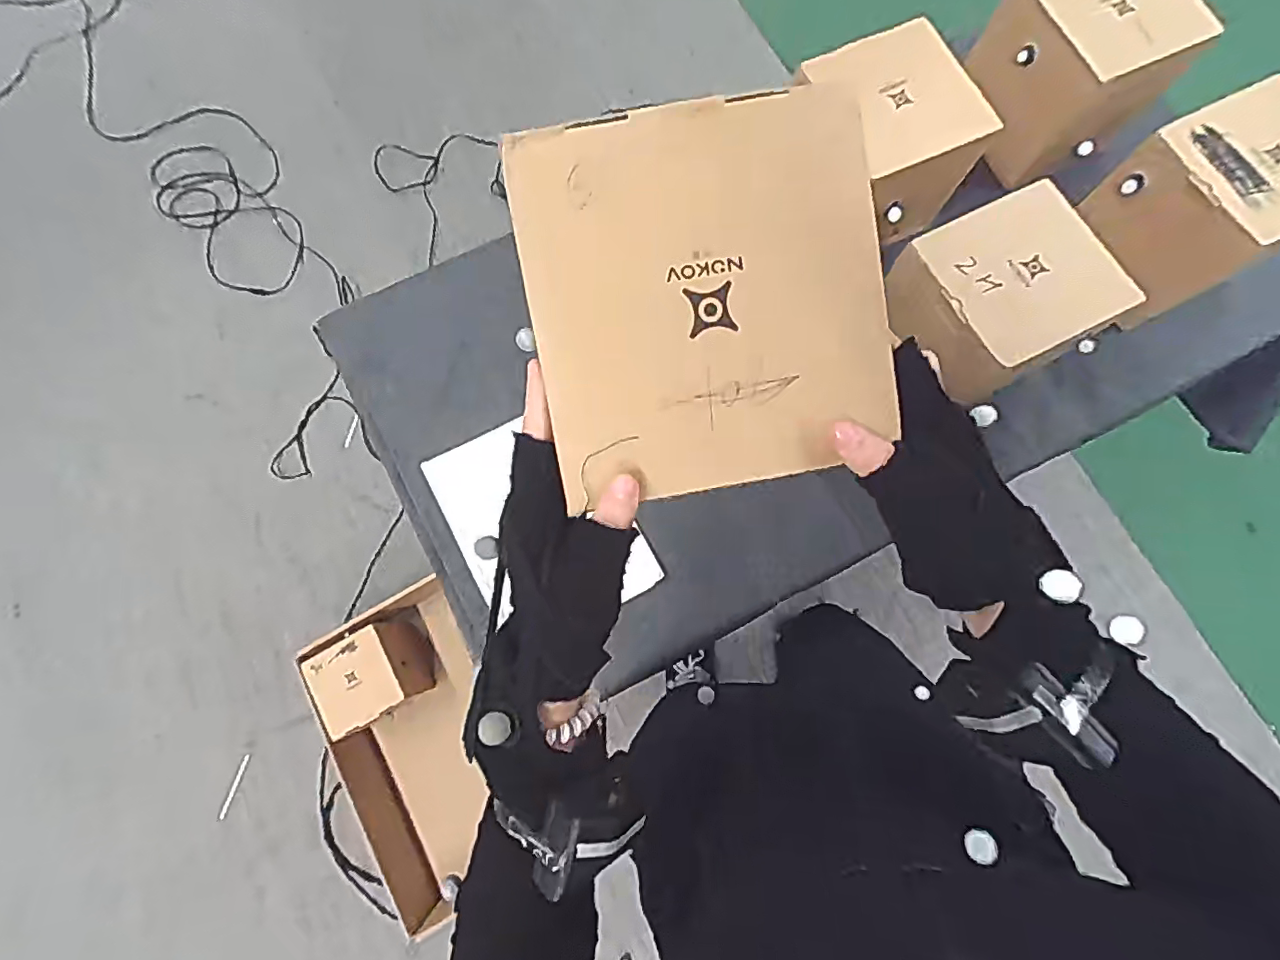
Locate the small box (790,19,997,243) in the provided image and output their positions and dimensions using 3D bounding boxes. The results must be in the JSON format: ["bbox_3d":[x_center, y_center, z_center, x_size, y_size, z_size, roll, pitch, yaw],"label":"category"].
[{"bbox_3d":[0.288,-0.411,0.683,0.168,0.176,0.179,-24,77,-4],"label":"small box"}]

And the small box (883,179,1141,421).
[{"bbox_3d":[0.390,-0.195,0.626,0.179,0.176,0.168,-26,76,-4],"label":"small box"}]

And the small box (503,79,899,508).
[{"bbox_3d":[0.027,-0.091,0.329,0.168,0.176,0.179,-10,97,-1],"label":"small box"}]

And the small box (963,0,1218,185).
[{"bbox_3d":[0.550,-0.533,0.703,0.168,0.176,0.179,-24,78,-4],"label":"small box"}]
